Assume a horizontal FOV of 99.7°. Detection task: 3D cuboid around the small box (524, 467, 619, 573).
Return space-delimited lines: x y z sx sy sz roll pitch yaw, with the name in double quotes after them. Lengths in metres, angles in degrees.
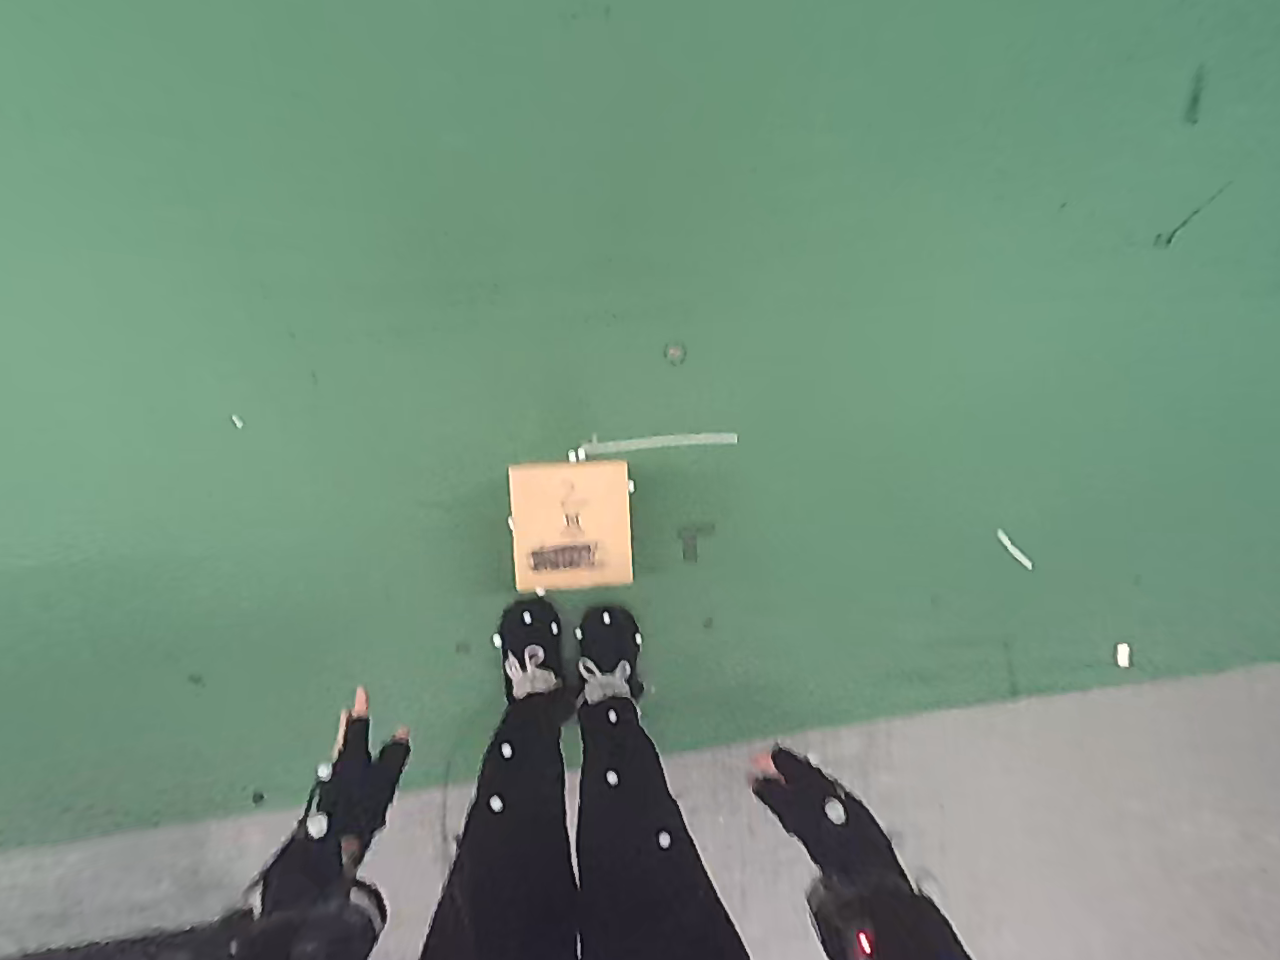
-0.124 0.067 1.009 0.168 0.176 0.179 -1 93 -6 "small box"
